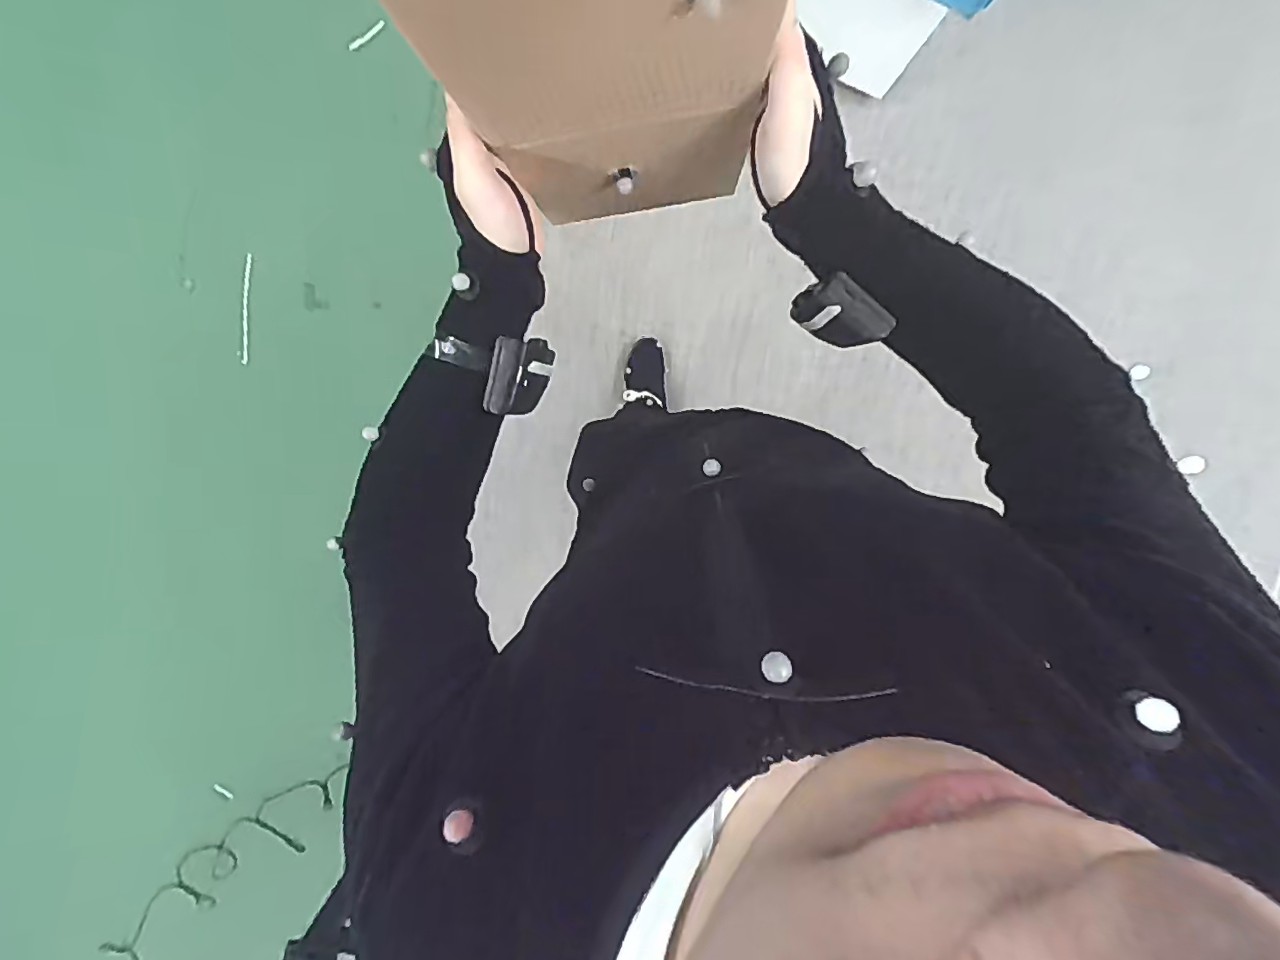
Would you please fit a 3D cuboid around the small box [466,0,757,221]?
[{"bbox_3d":[-0.017,-0.317,0.410,0.179,0.176,0.168,-7,98,6],"label":"small box"}]
